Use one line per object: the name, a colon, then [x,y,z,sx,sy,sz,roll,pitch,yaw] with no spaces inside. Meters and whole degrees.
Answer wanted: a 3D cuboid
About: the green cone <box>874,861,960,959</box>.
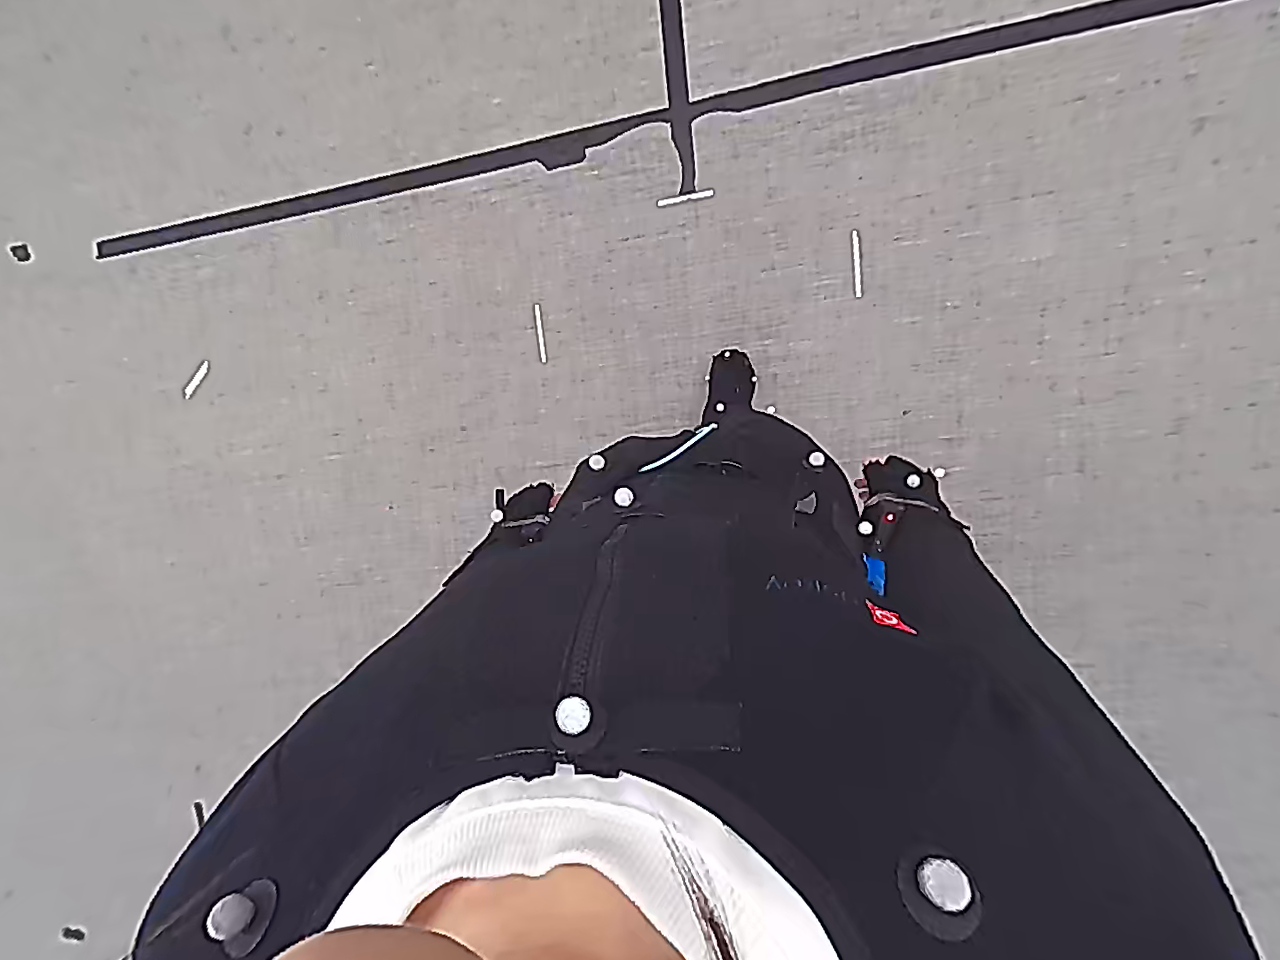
green cone: [0.720,1.151,1.299,0.202,0.368,0.200,-5,97,9]
